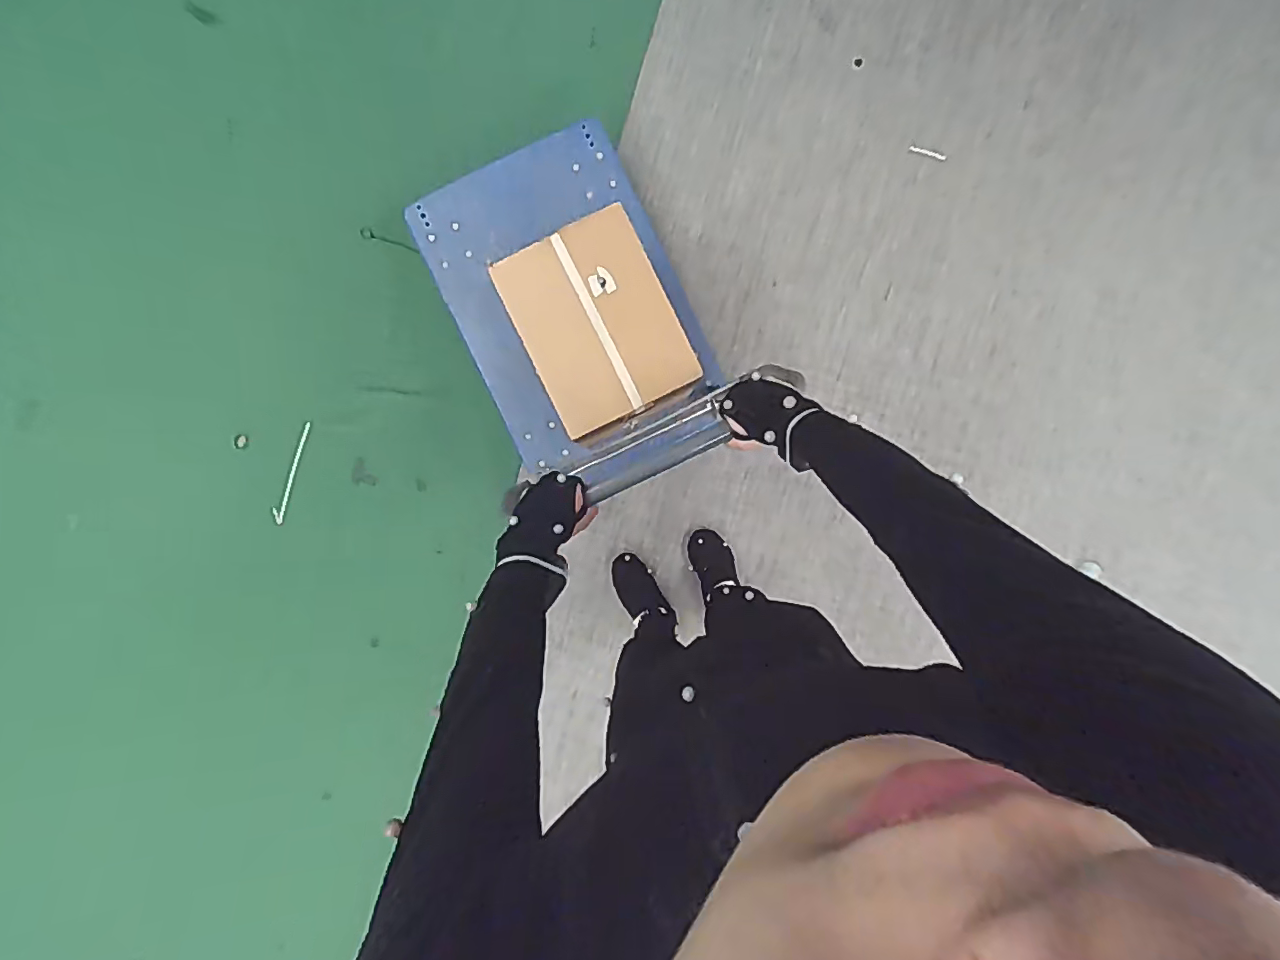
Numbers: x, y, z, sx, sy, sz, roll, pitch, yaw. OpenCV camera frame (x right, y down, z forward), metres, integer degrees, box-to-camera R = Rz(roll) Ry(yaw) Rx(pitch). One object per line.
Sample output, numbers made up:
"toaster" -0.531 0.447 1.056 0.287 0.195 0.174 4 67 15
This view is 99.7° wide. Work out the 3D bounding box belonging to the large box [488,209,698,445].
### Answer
"large box" -0.096 -0.332 1.291 0.320 0.320 0.408 -26 90 0
